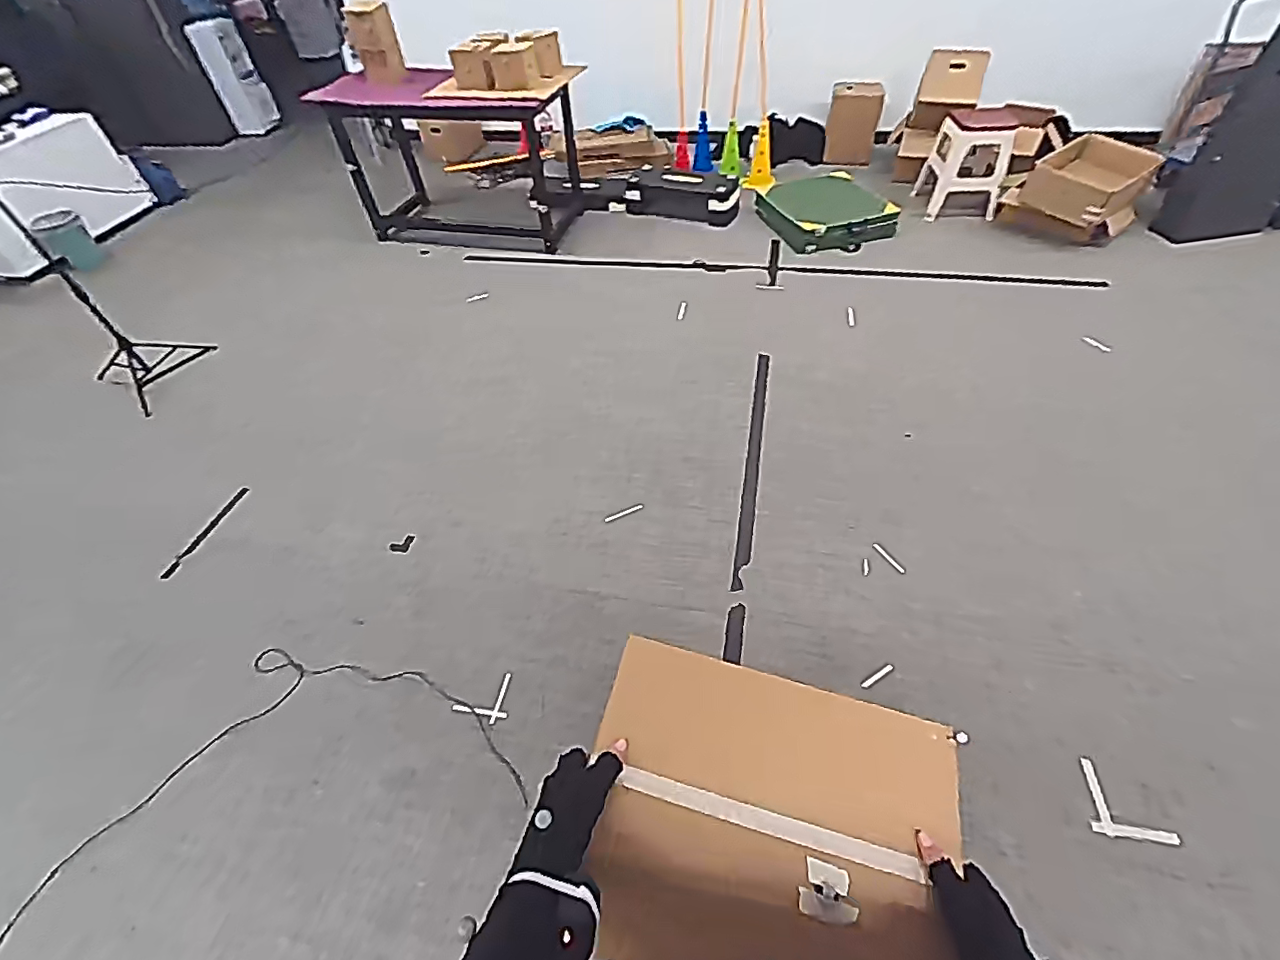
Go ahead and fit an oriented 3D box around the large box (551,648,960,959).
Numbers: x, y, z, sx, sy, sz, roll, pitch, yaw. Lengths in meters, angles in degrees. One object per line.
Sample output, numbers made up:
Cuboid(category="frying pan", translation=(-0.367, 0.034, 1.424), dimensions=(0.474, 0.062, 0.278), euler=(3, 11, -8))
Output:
Cuboid(category="large box", translation=(0.134, 0.465, 0.709), dimensions=(0.408, 0.320, 0.320), euler=(14, 56, 8))
